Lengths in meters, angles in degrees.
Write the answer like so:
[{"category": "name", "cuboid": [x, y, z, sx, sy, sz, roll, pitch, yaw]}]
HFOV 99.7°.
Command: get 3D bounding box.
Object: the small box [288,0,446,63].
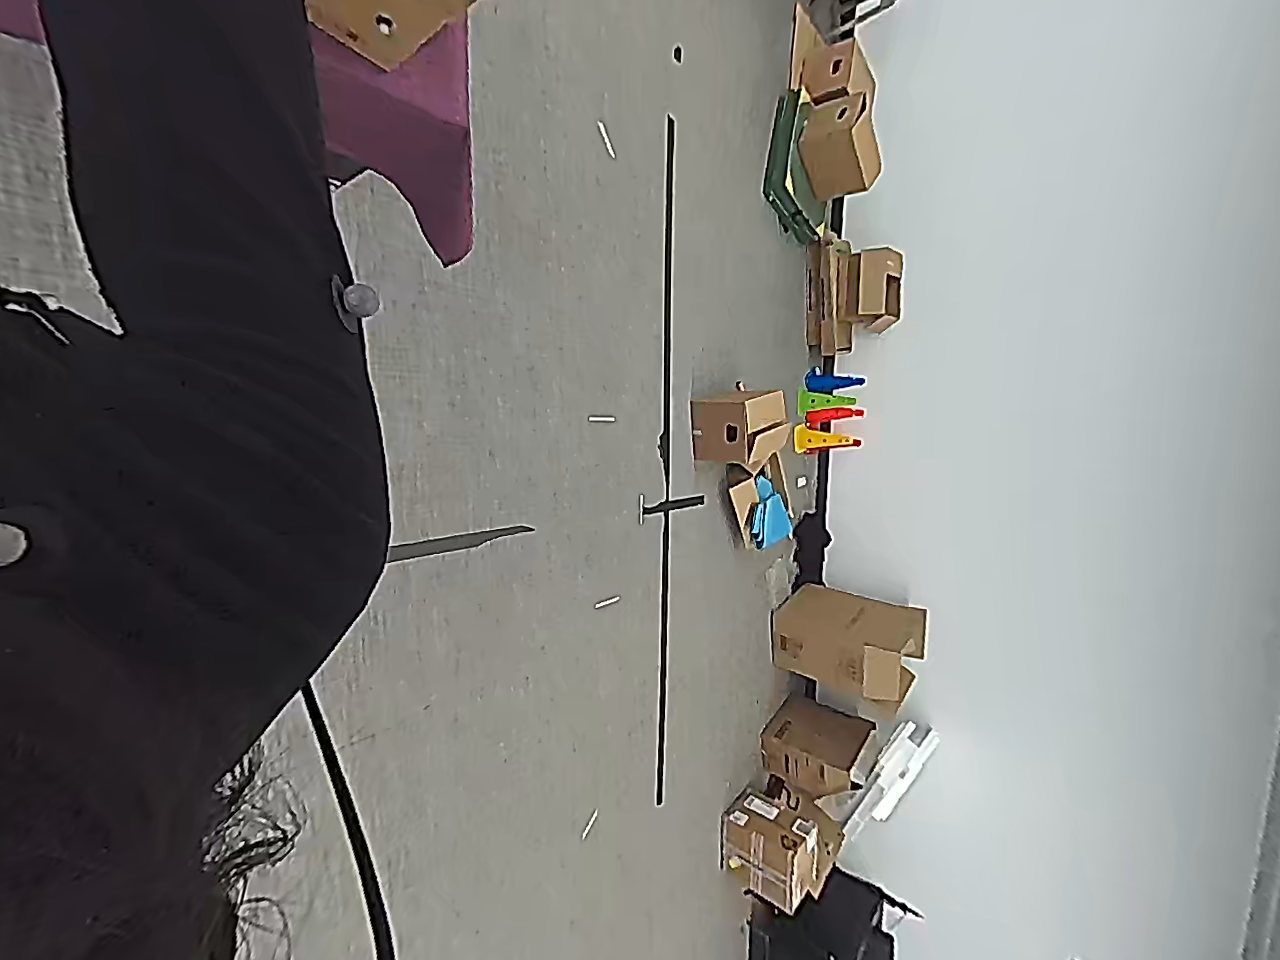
[{"category": "small box", "cuboid": [-0.348, -0.671, 0.664, 0.168, 0.176, 0.179, 5, 89, -52]}]
